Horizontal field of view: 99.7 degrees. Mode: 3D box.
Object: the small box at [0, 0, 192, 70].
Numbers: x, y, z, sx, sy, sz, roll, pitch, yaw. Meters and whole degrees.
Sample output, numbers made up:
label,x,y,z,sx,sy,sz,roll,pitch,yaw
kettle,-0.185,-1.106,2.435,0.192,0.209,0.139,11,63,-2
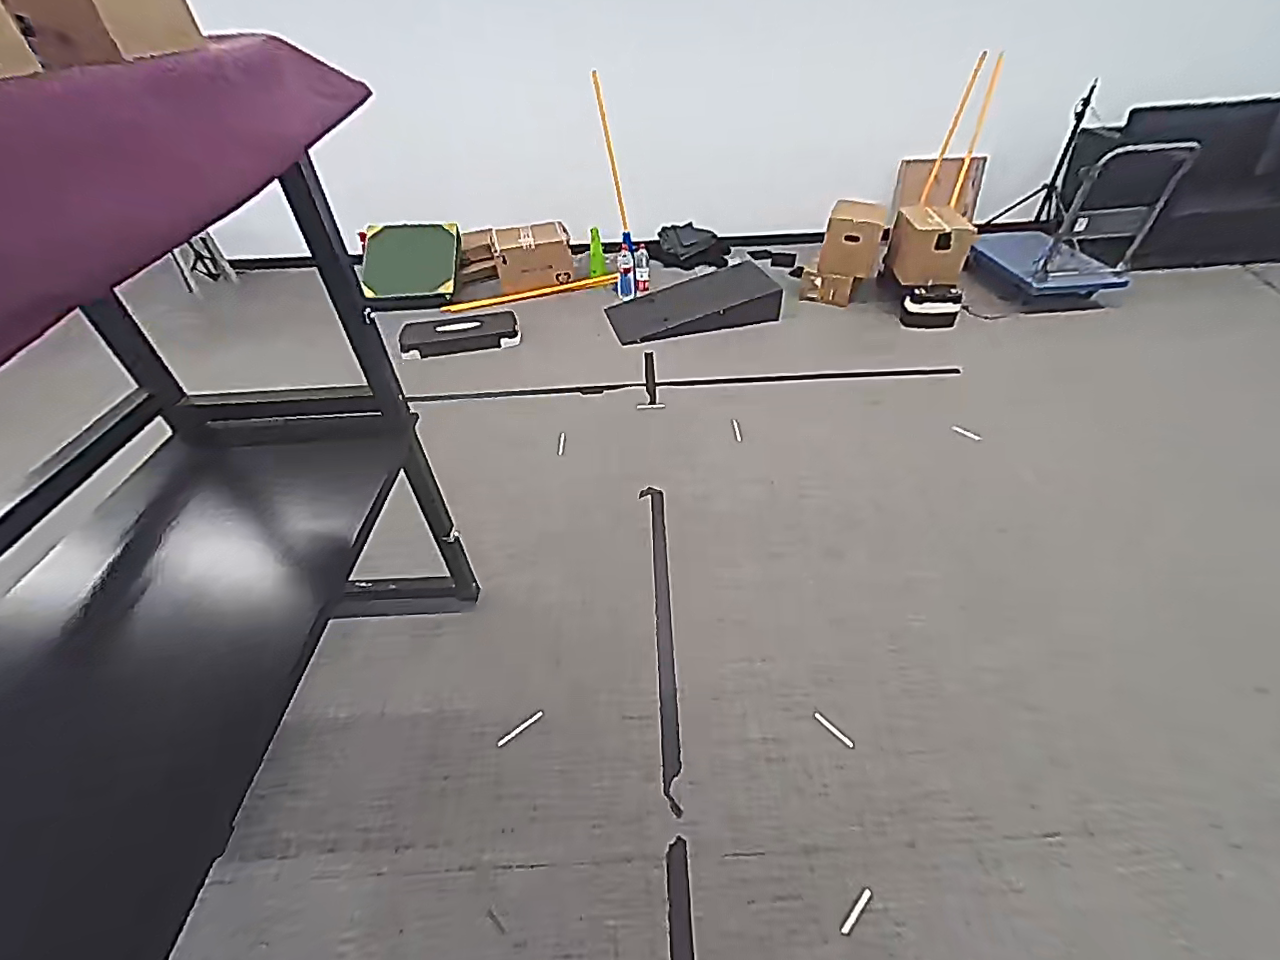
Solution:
label,x,y,z,sx,sy,sz,roll,pitch,yaw
small box,-0.718,-0.624,0.672,0.168,0.176,0.179,-2,43,3
